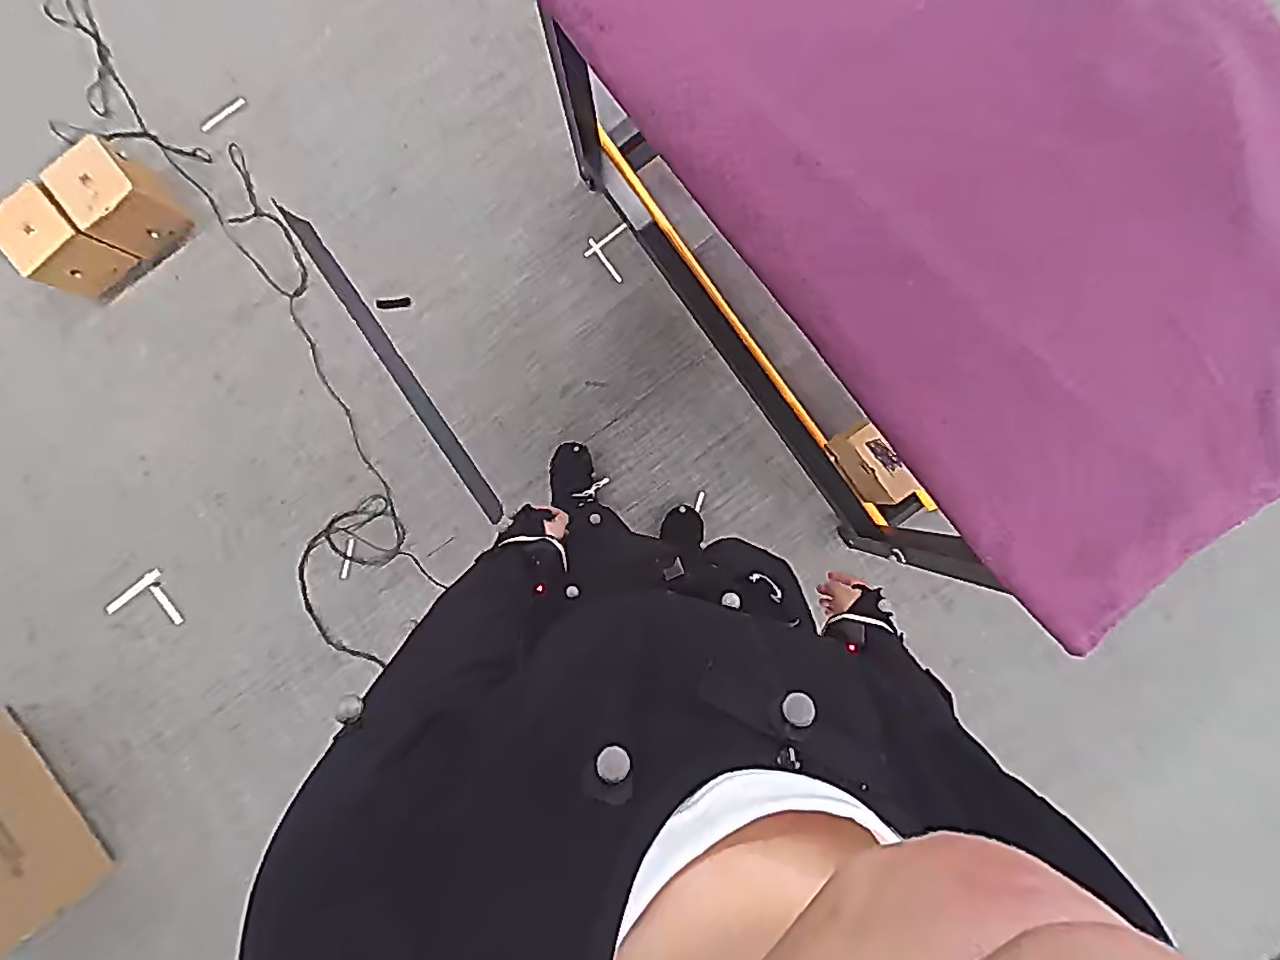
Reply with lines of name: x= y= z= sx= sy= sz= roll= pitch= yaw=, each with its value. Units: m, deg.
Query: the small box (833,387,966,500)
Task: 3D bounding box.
small box: x=0.538 y=-0.069 z=1.156 sx=0.179 sy=0.176 sz=0.168 roll=-35 pitch=88 yaw=1
